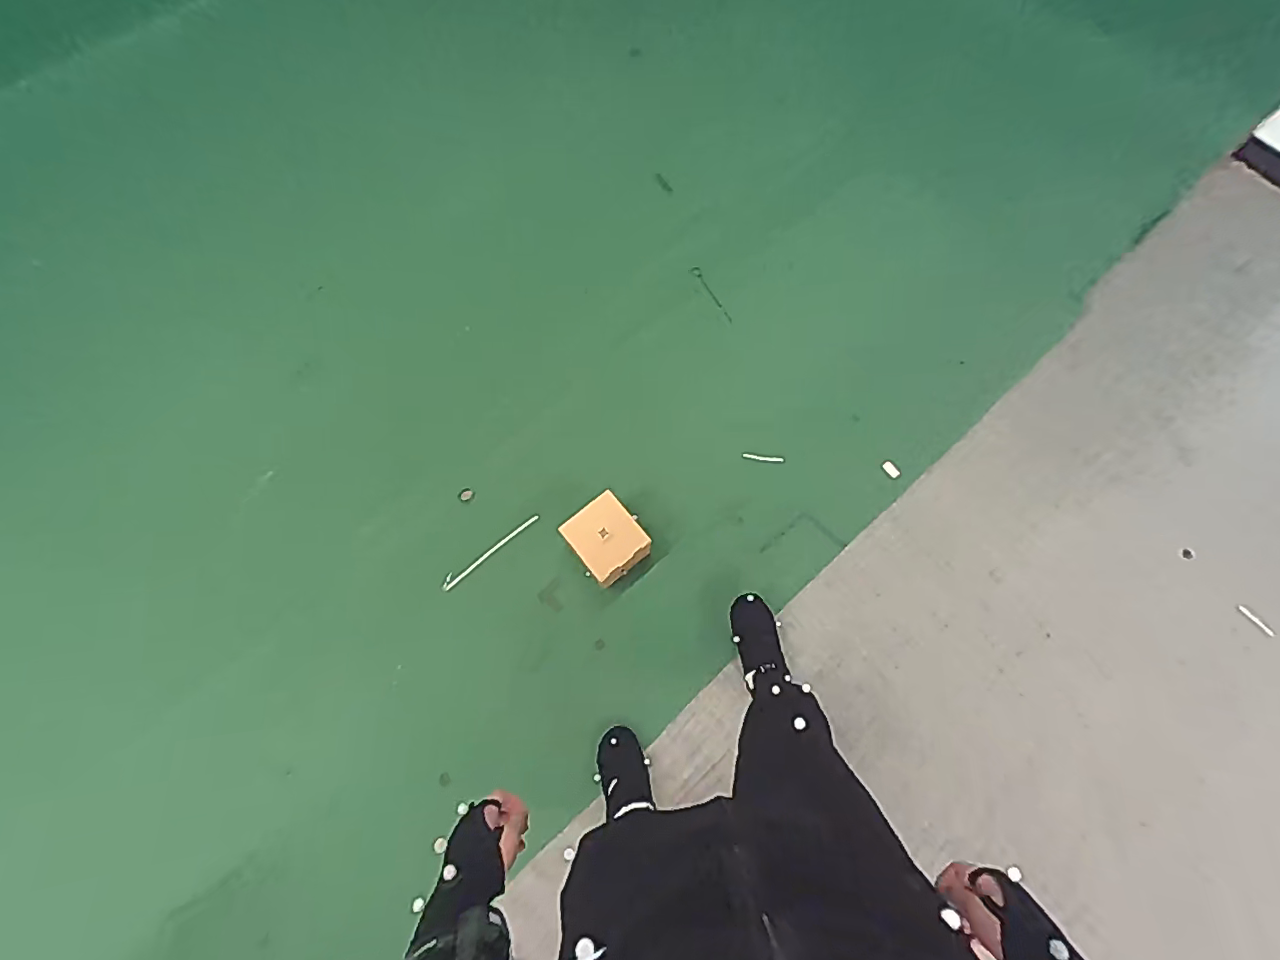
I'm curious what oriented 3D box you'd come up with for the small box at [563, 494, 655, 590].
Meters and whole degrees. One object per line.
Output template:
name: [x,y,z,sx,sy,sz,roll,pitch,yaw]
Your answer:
small box: [-0.082,0.170,1.424,0.168,0.176,0.179,-39,78,-12]
